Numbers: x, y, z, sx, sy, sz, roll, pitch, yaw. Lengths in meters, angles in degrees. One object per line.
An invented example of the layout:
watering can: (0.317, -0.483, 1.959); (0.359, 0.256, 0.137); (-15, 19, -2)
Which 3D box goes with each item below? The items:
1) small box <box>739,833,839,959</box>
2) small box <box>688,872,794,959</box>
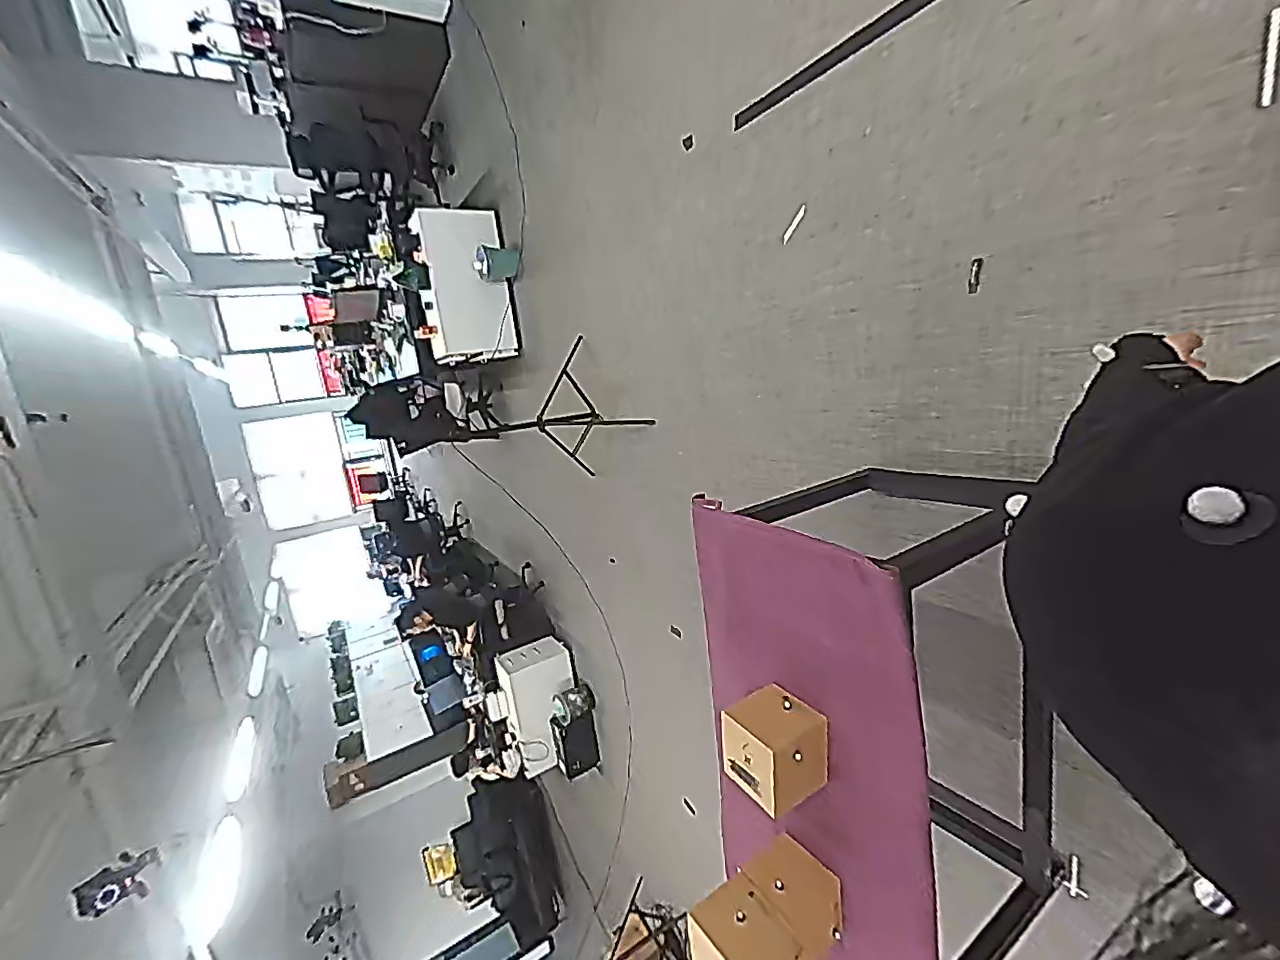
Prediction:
small box: (0.365, 1.008, 1.309); (0.179, 0.176, 0.168); (12, 113, 58)
small box: (0.231, 1.047, 1.220); (0.168, 0.176, 0.179); (11, 112, 58)
